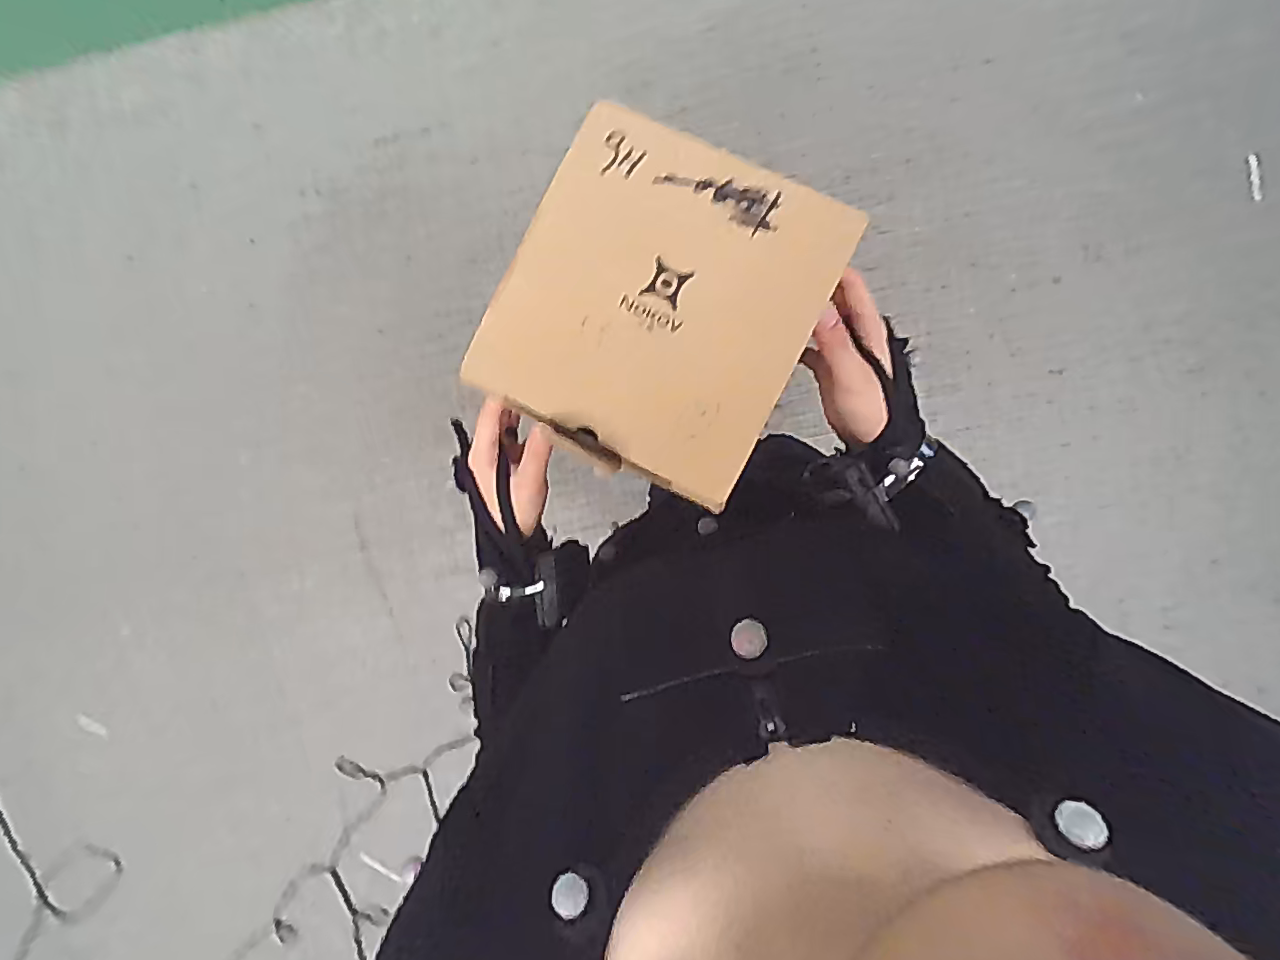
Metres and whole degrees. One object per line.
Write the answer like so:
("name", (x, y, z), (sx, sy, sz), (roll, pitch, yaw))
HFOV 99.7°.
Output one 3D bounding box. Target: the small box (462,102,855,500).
("small box", (0.016, -0.098, 0.376), (0.168, 0.176, 0.179), (27, 91, 6))
